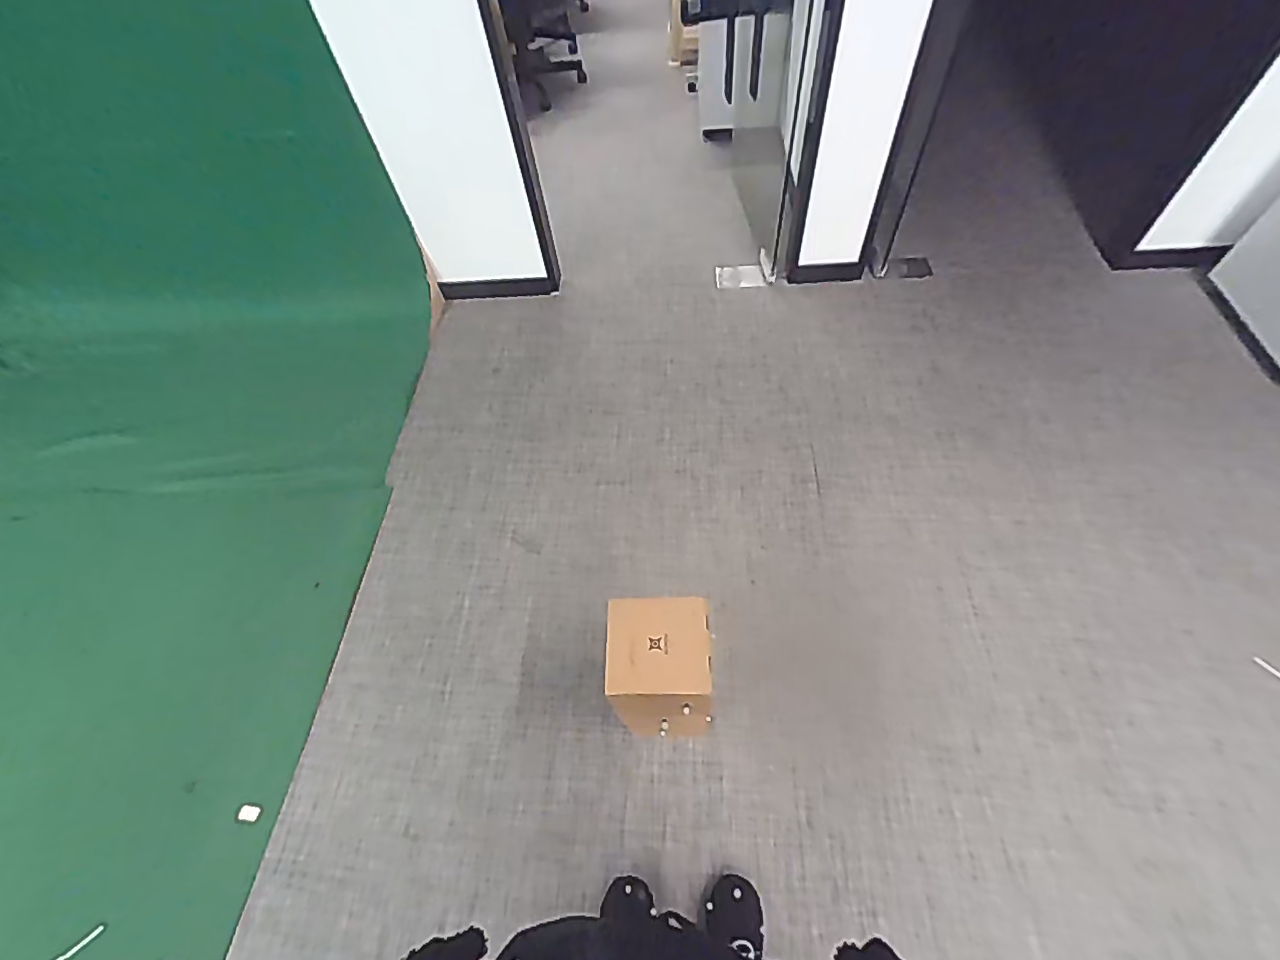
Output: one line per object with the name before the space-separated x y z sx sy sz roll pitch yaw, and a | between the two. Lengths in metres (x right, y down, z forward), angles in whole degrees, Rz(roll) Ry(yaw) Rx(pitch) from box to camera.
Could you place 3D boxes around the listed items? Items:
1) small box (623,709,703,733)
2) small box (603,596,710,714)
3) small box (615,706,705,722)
small box | 0.056 0.487 1.260 0.179 0.176 0.168 -1 56 6
small box | 0.034 0.320 0.980 0.179 0.176 0.168 -3 55 5
small box | 0.040 0.399 1.123 0.179 0.176 0.168 -3 56 3
